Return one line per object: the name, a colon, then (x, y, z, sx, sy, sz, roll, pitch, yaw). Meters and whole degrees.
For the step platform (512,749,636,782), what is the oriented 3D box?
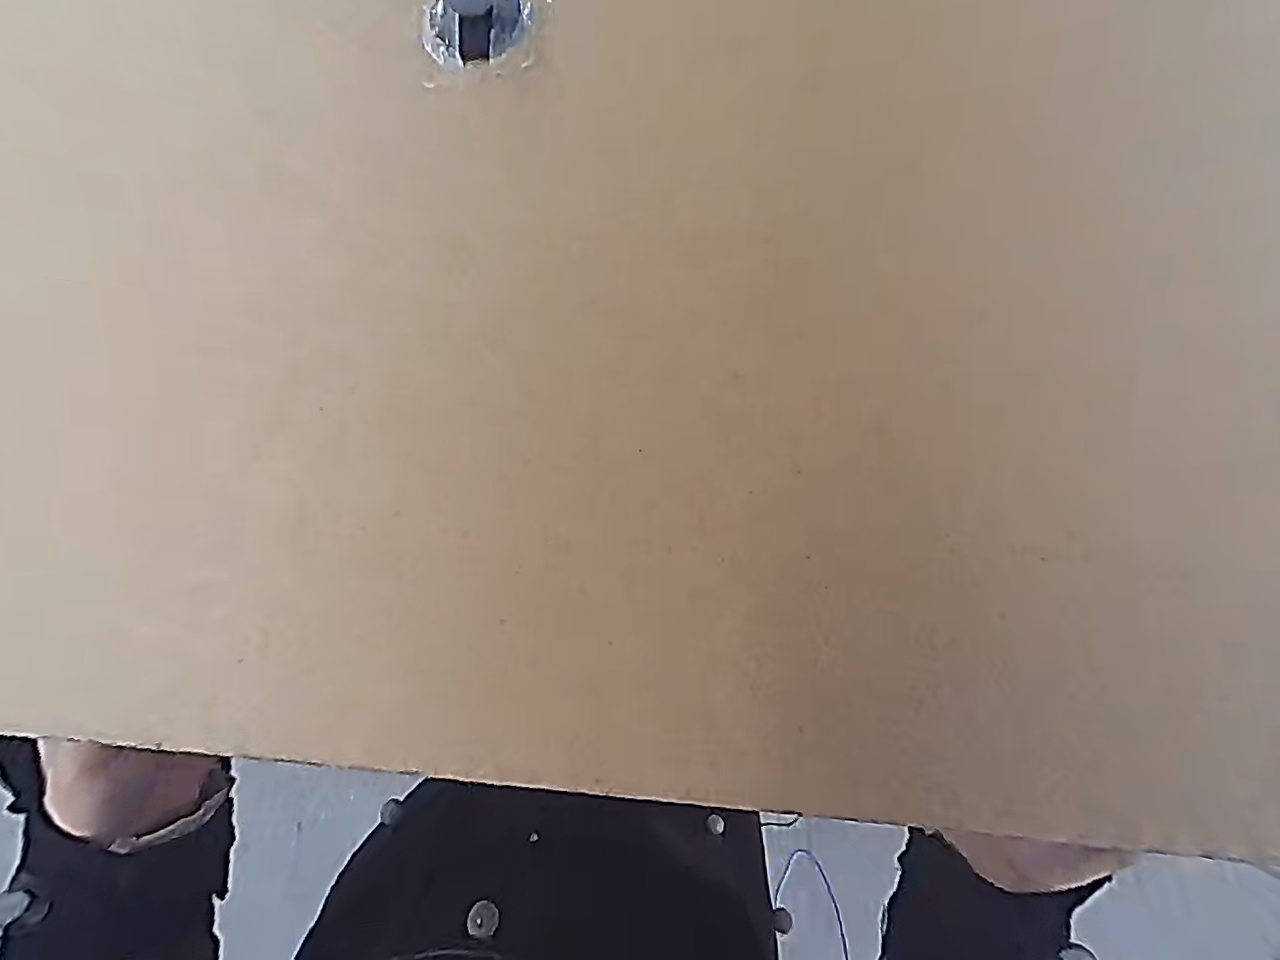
step platform: (-0.122, 0.331, 1.287, 0.286, 0.204, 0.684, 5, 81, 0)
